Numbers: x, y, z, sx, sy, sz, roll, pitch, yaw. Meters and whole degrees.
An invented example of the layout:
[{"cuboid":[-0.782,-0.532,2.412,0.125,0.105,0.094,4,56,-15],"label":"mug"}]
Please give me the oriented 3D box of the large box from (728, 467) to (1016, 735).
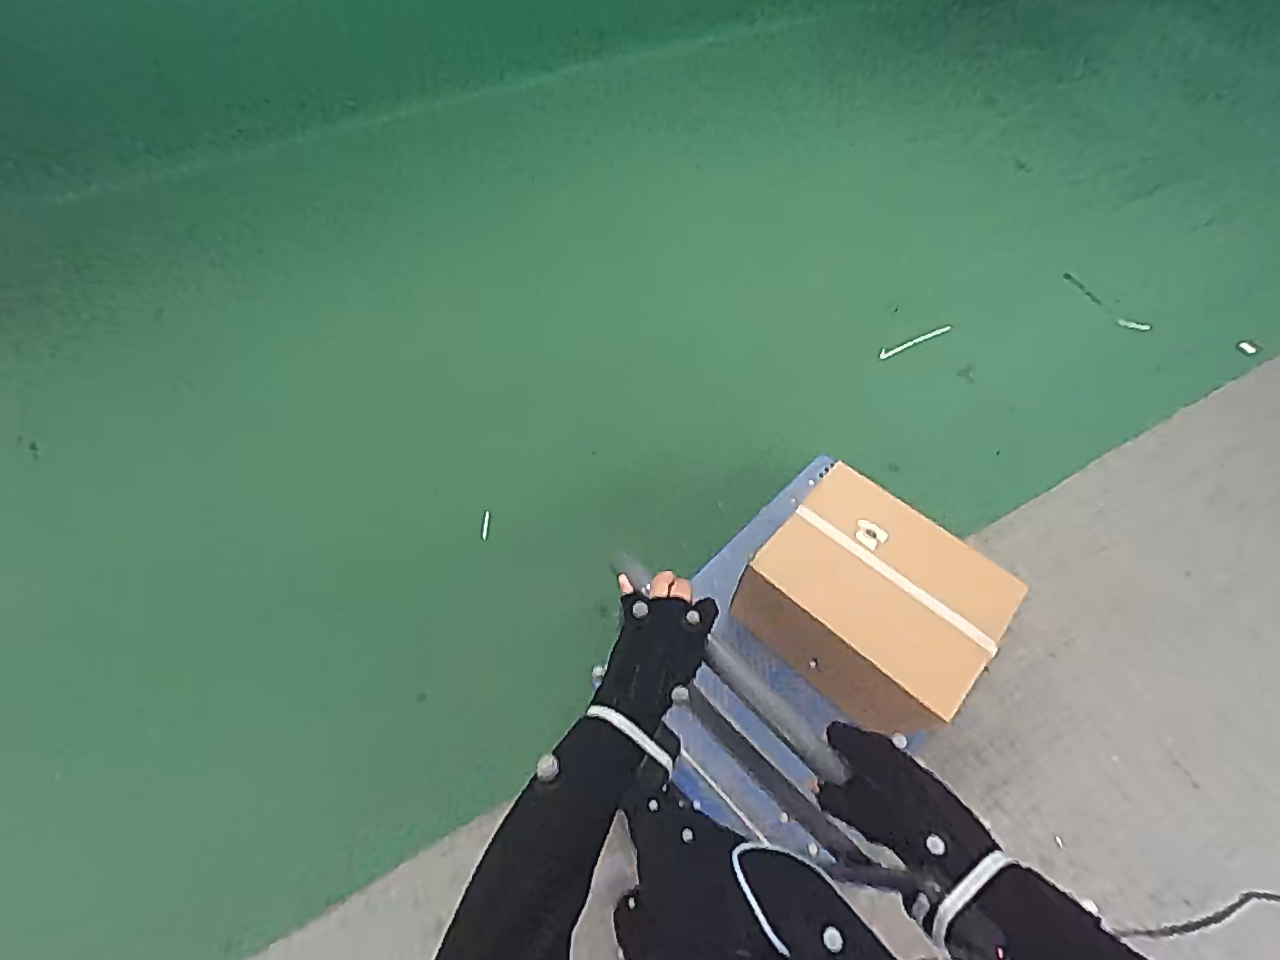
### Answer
[{"cuboid":[0.447,0.255,1.129,0.408,0.320,0.320,38,66,22],"label":"large box"}]
